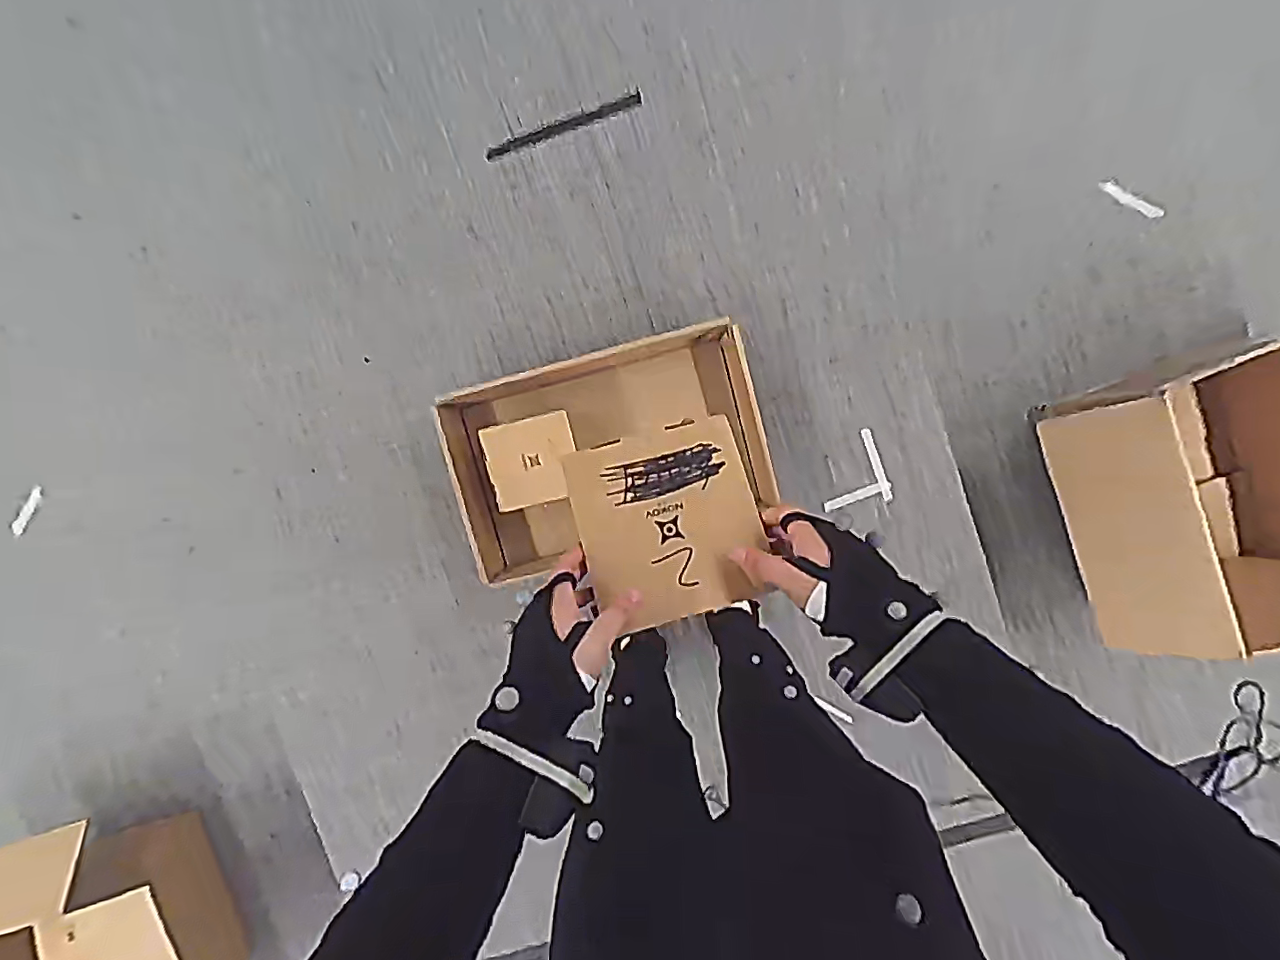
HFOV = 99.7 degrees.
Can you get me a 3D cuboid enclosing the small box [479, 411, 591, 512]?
[{"bbox_3d":[-0.208,-0.042,1.122,0.179,0.176,0.168,-14,96,0],"label":"small box"}]
